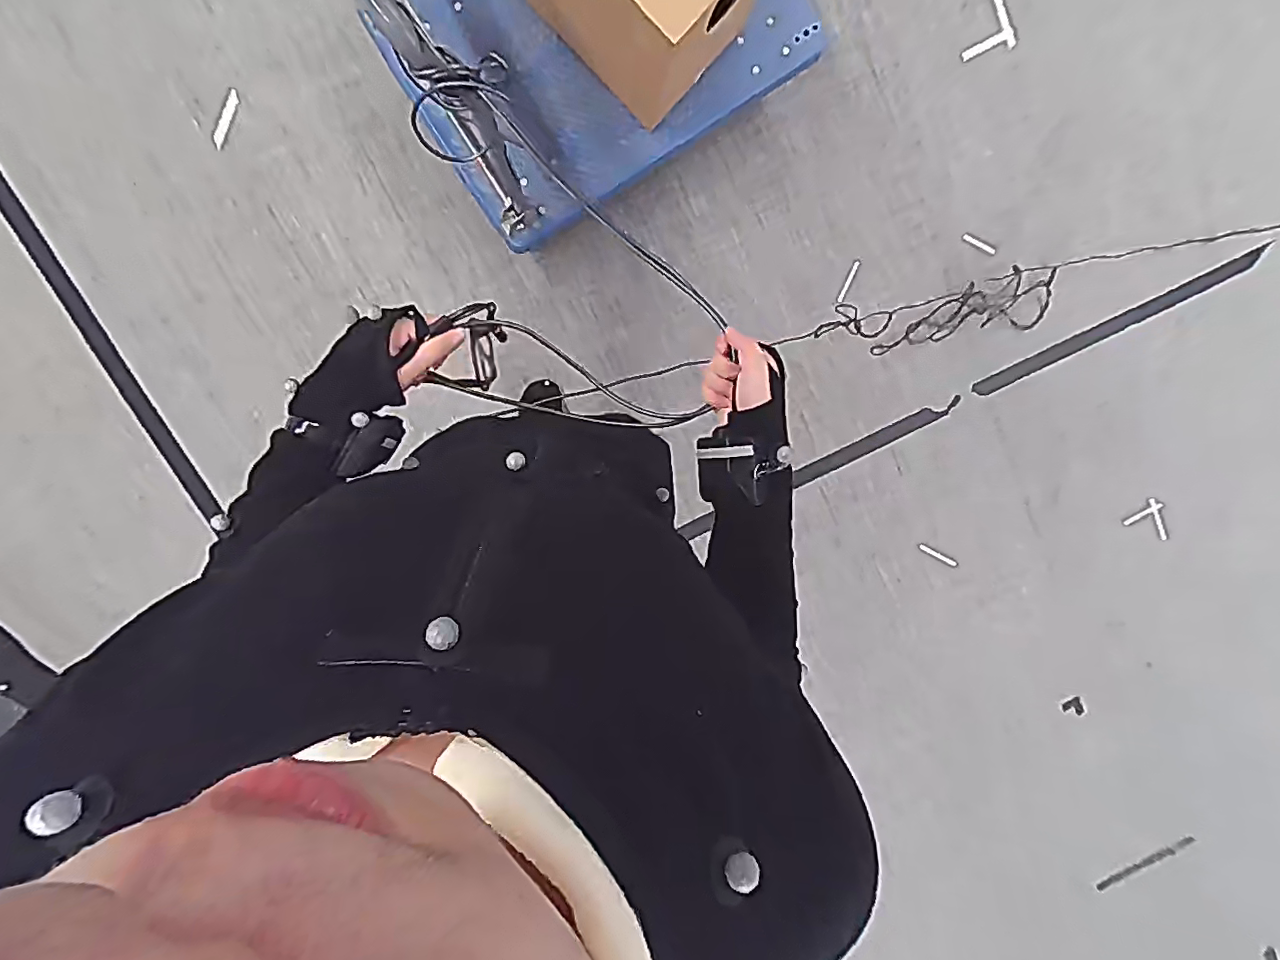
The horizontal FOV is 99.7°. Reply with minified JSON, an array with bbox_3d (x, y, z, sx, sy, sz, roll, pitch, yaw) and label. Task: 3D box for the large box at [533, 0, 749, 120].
[{"bbox_3d":[-0.003,-1.006,1.009,0.408,0.320,0.320,41,93,-12],"label":"large box"}]
